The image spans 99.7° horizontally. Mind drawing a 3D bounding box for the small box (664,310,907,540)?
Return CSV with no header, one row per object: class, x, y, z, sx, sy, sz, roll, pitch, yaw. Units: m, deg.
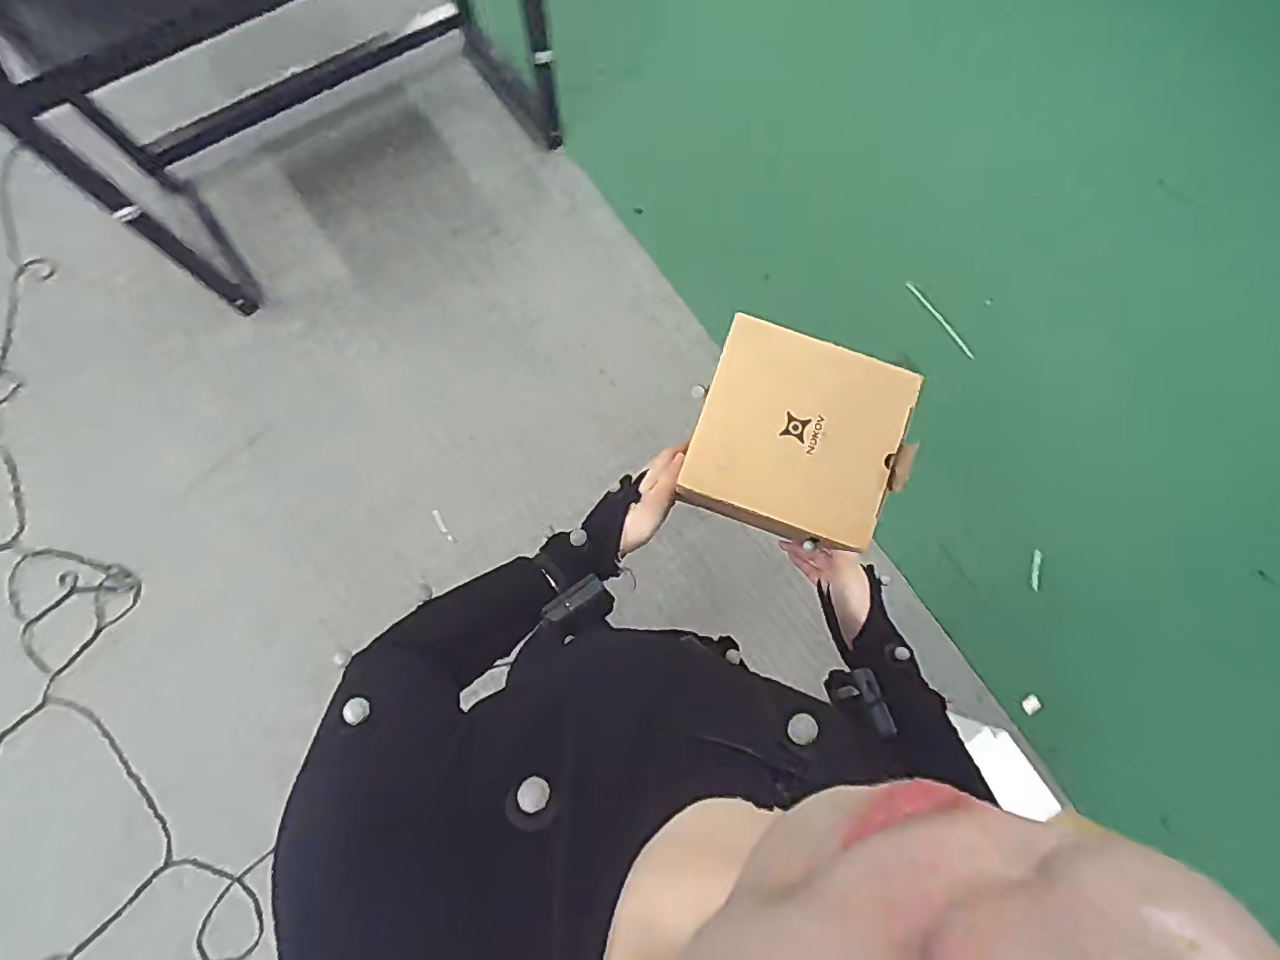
small box,0.129,-0.042,0.552,0.179,0.176,0.168,19,86,2
